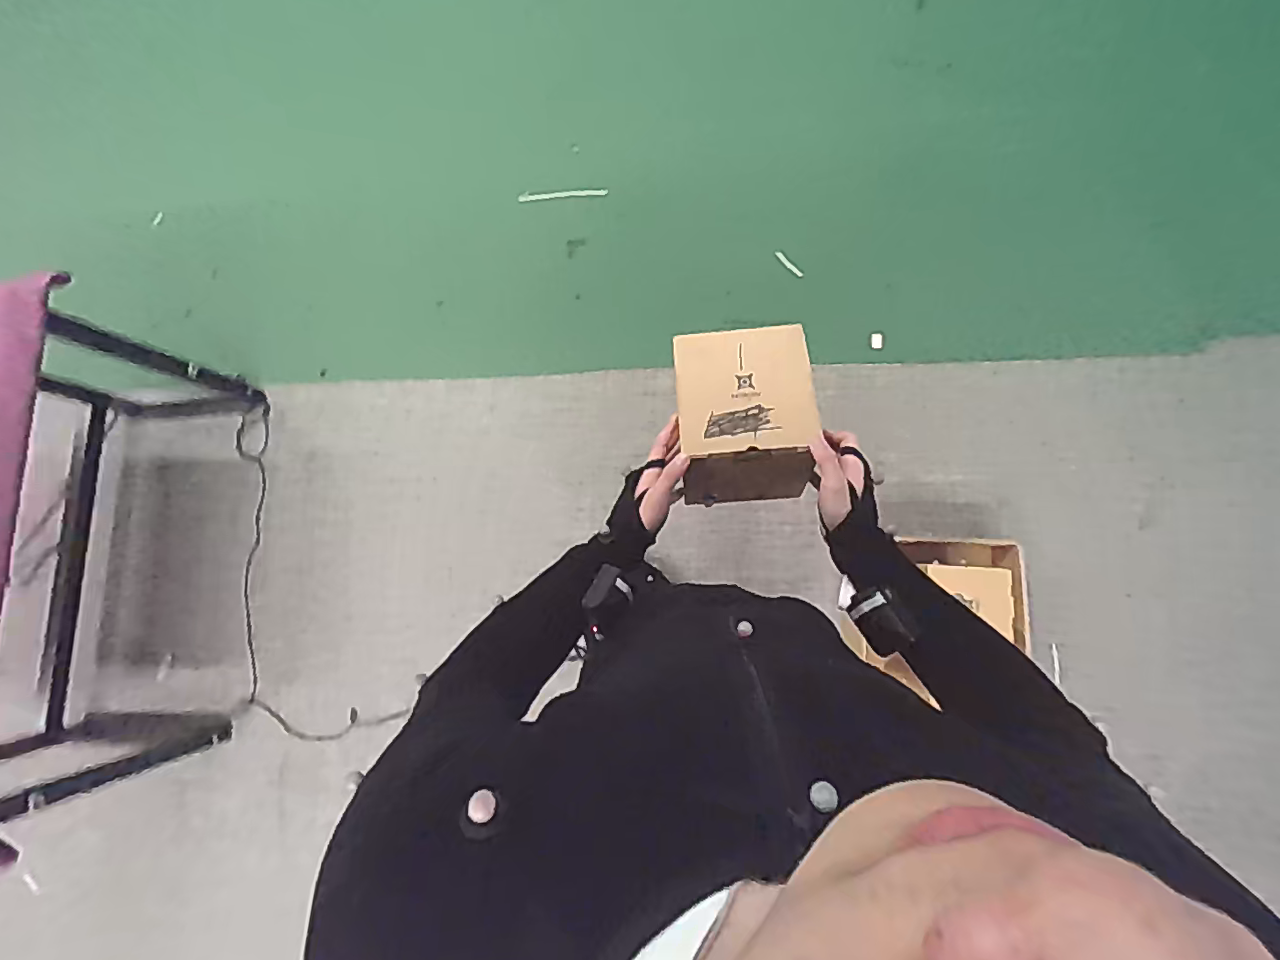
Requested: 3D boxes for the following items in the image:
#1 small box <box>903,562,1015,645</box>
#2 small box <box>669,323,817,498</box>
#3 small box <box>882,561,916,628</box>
[{"bbox_3d":[0.737,0.281,1.263,0.179,0.176,0.168,3,82,8],"label":"small box"},{"bbox_3d":[0.128,-0.082,0.722,0.168,0.176,0.179,-4,67,4],"label":"small box"},{"bbox_3d":[0.759,0.304,1.422,0.179,0.176,0.168,4,82,7],"label":"small box"}]
